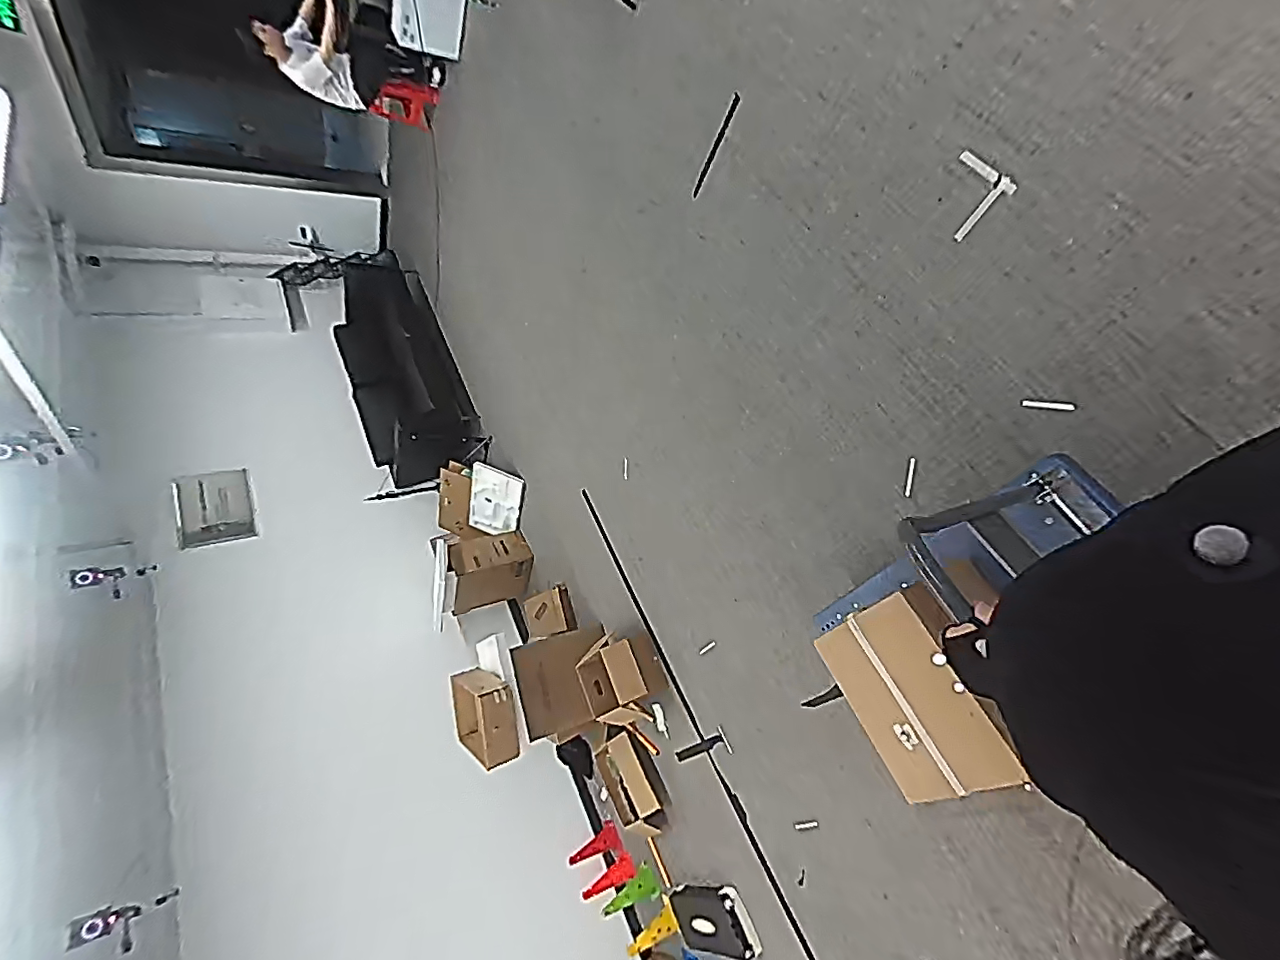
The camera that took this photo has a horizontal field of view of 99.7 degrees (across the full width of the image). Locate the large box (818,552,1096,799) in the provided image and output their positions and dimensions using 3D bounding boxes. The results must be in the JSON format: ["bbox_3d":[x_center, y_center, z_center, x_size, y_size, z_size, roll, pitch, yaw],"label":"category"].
[{"bbox_3d":[0.712,0.439,1.255,0.408,0.320,0.320,61,144,24],"label":"large box"}]
